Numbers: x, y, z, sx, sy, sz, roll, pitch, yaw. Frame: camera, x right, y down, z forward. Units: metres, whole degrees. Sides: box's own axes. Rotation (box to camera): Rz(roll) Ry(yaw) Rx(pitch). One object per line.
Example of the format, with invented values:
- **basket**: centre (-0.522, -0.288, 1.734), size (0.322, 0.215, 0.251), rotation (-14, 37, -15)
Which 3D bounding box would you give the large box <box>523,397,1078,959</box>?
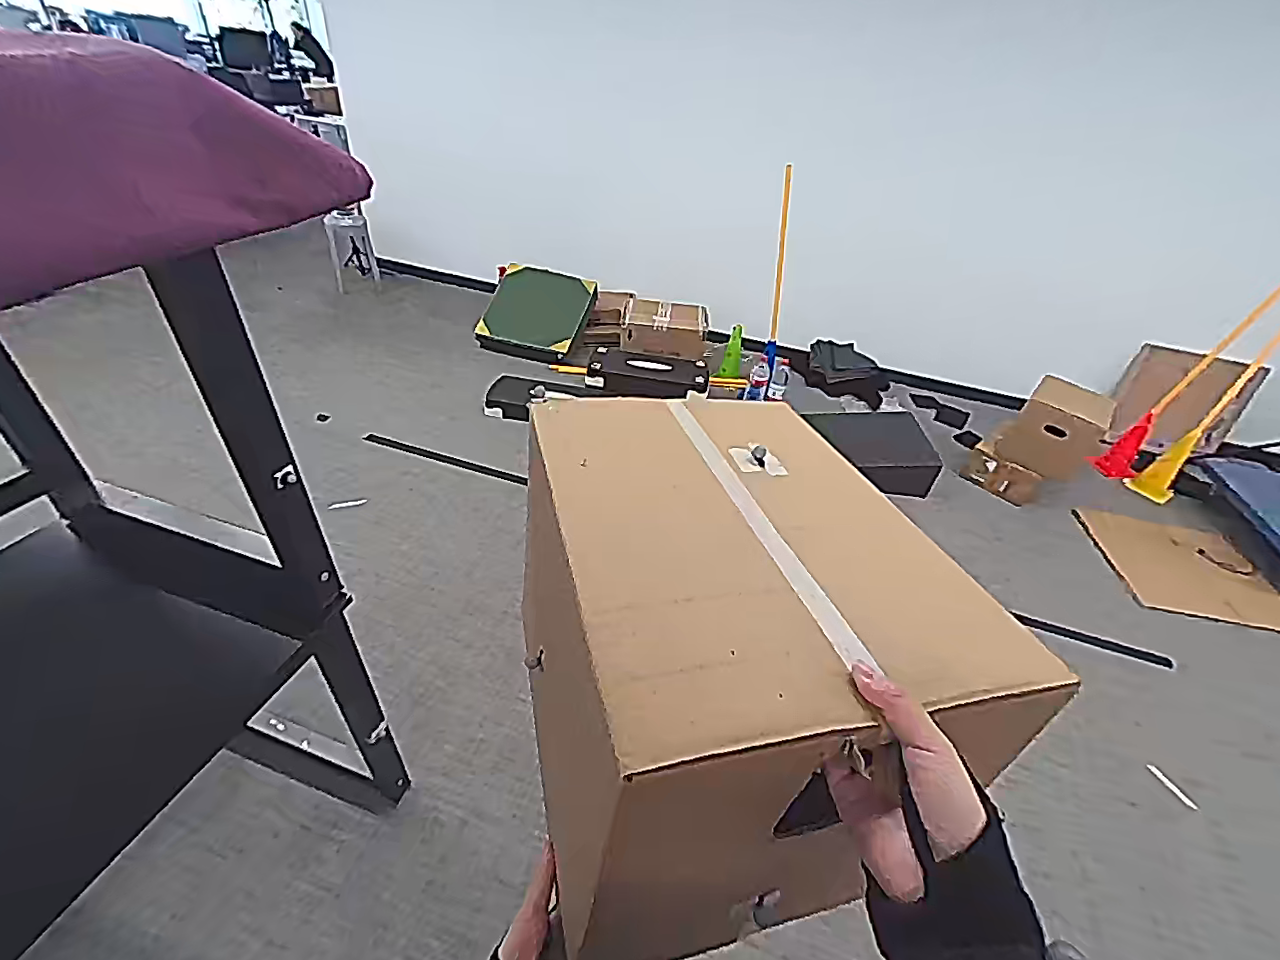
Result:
- **large box**: centre (0.062, 0.147, 0.528), size (0.320, 0.320, 0.408), rotation (-1, 33, -18)
